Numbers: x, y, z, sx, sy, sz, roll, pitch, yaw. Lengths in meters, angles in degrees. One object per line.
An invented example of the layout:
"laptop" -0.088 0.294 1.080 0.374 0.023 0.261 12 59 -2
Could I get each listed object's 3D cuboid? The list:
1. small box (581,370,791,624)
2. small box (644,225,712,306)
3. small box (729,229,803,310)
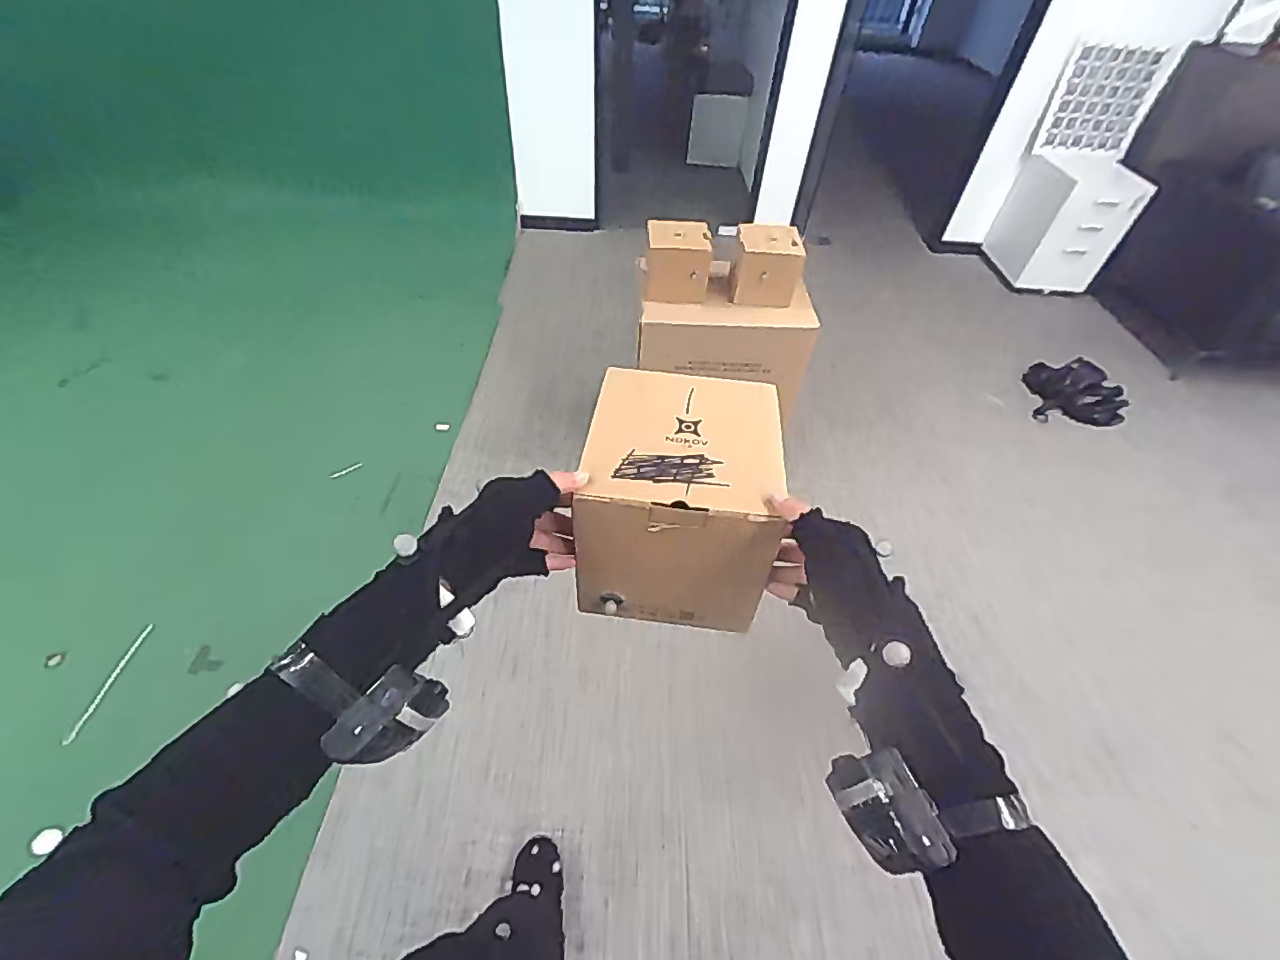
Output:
"small box" 0.041 0.018 0.527 0.168 0.176 0.179 7 44 2
"small box" 0.107 -0.634 1.609 0.179 0.176 0.168 0 50 -3
"small box" 0.369 -0.629 1.623 0.179 0.176 0.168 2 51 -2
